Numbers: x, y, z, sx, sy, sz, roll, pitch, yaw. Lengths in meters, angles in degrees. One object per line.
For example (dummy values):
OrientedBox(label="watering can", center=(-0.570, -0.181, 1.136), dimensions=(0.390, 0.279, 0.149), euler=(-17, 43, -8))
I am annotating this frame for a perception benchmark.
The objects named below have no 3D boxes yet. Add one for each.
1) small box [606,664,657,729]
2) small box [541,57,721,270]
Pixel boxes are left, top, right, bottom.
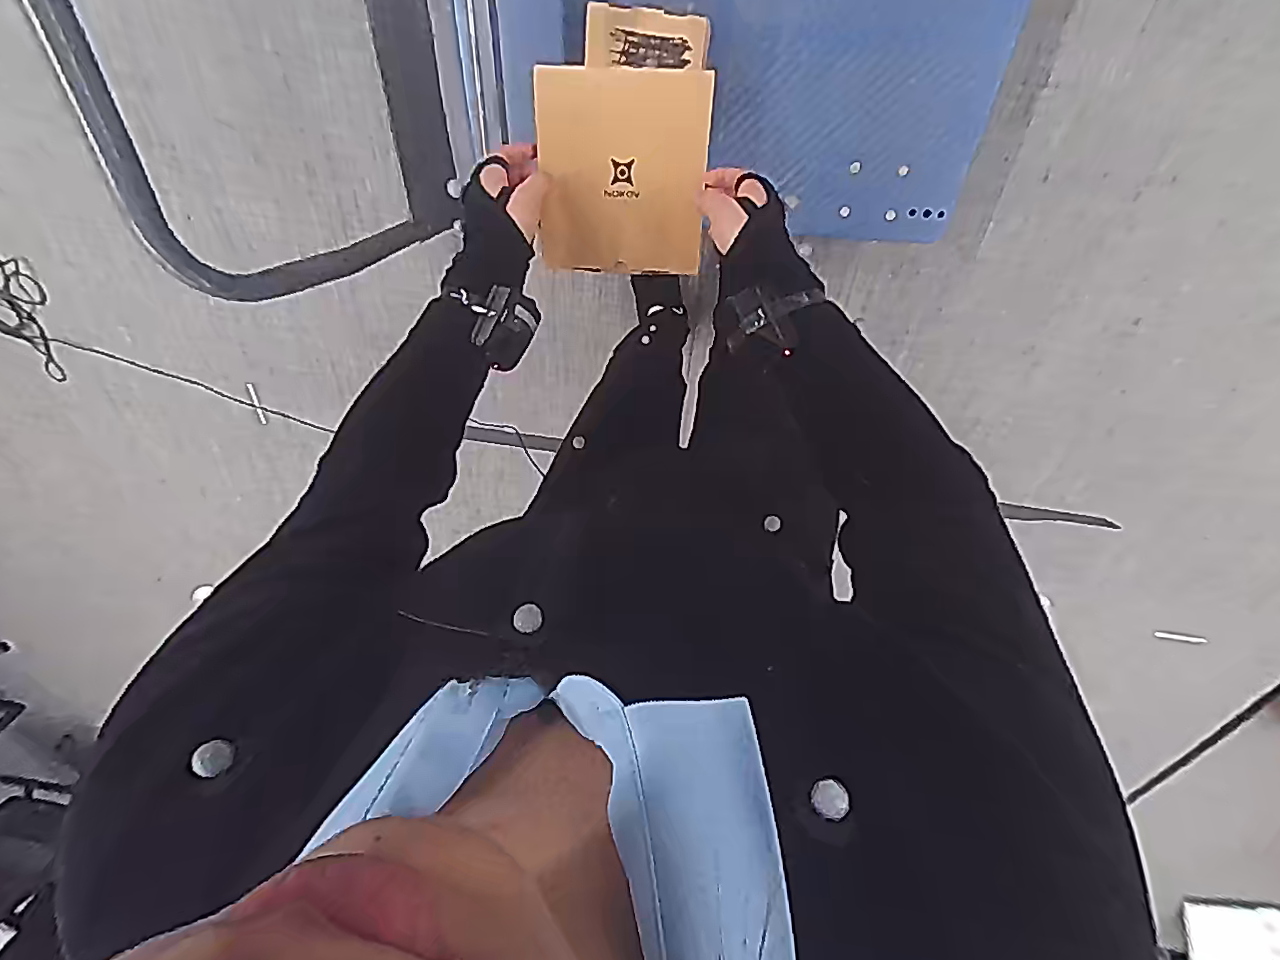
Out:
OrientedBox(label="small box", center=(-0.029, 0.848, 2.117), dimensions=(0.168, 0.176, 0.179), euler=(-2, 125, 9))
OrientedBox(label="small box", center=(-0.011, -0.340, 0.593), dimensions=(0.168, 0.176, 0.179), euler=(3, 122, 1))
